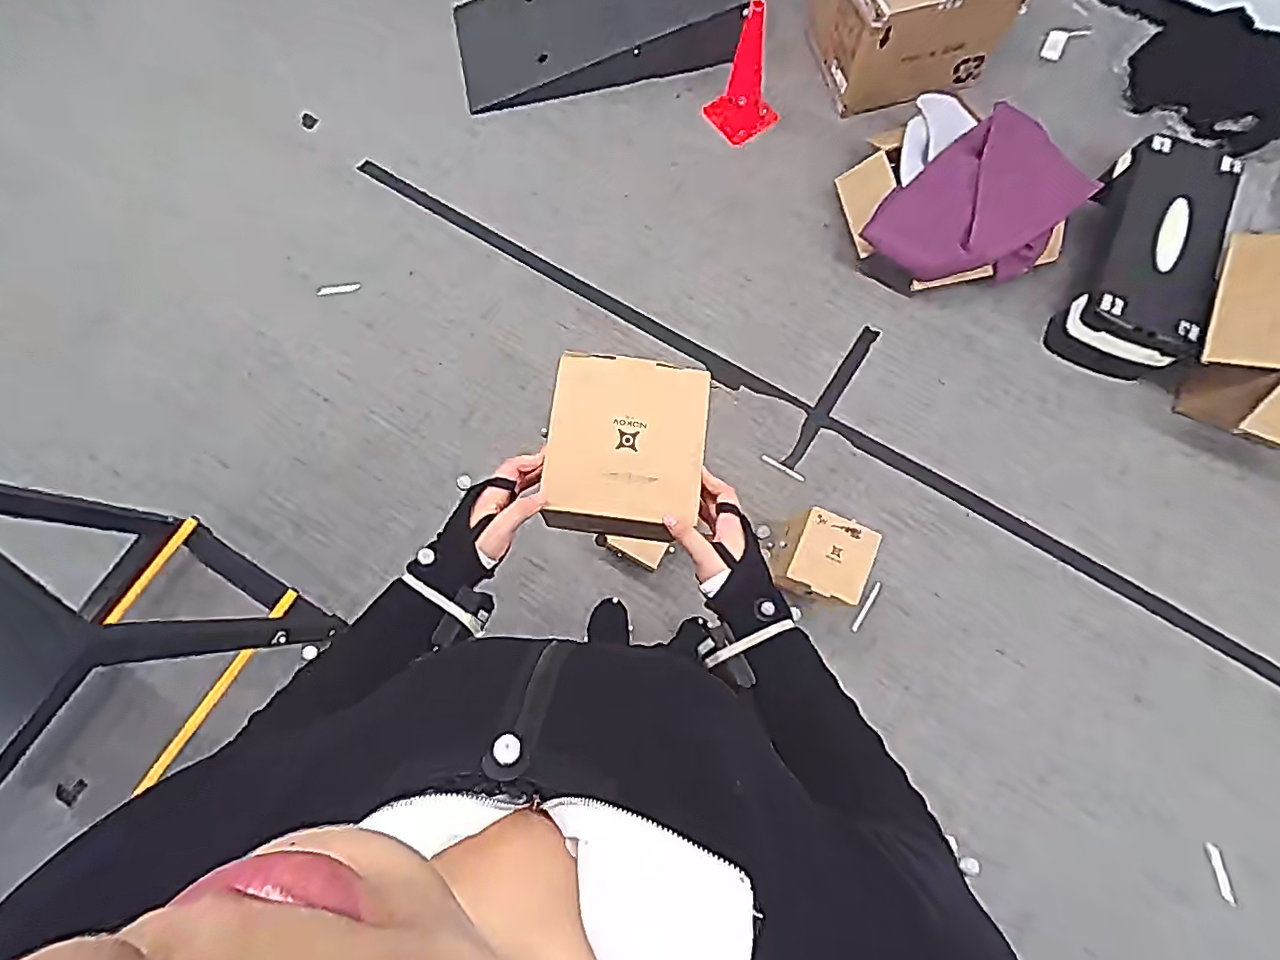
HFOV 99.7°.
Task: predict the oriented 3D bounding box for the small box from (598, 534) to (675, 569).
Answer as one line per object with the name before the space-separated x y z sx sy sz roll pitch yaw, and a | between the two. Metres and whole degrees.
small box | 0.005 0.130 1.464 0.179 0.176 0.168 29 80 7

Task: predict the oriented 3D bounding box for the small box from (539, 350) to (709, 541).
small box | -0.021 -0.030 0.642 0.168 0.176 0.179 6 78 -3

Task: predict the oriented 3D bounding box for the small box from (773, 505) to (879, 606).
small box | 0.428 0.183 1.274 0.168 0.176 0.179 25 80 7

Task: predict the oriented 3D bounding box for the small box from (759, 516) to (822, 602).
small box | 0.439 0.213 1.435 0.179 0.176 0.168 26 79 7
